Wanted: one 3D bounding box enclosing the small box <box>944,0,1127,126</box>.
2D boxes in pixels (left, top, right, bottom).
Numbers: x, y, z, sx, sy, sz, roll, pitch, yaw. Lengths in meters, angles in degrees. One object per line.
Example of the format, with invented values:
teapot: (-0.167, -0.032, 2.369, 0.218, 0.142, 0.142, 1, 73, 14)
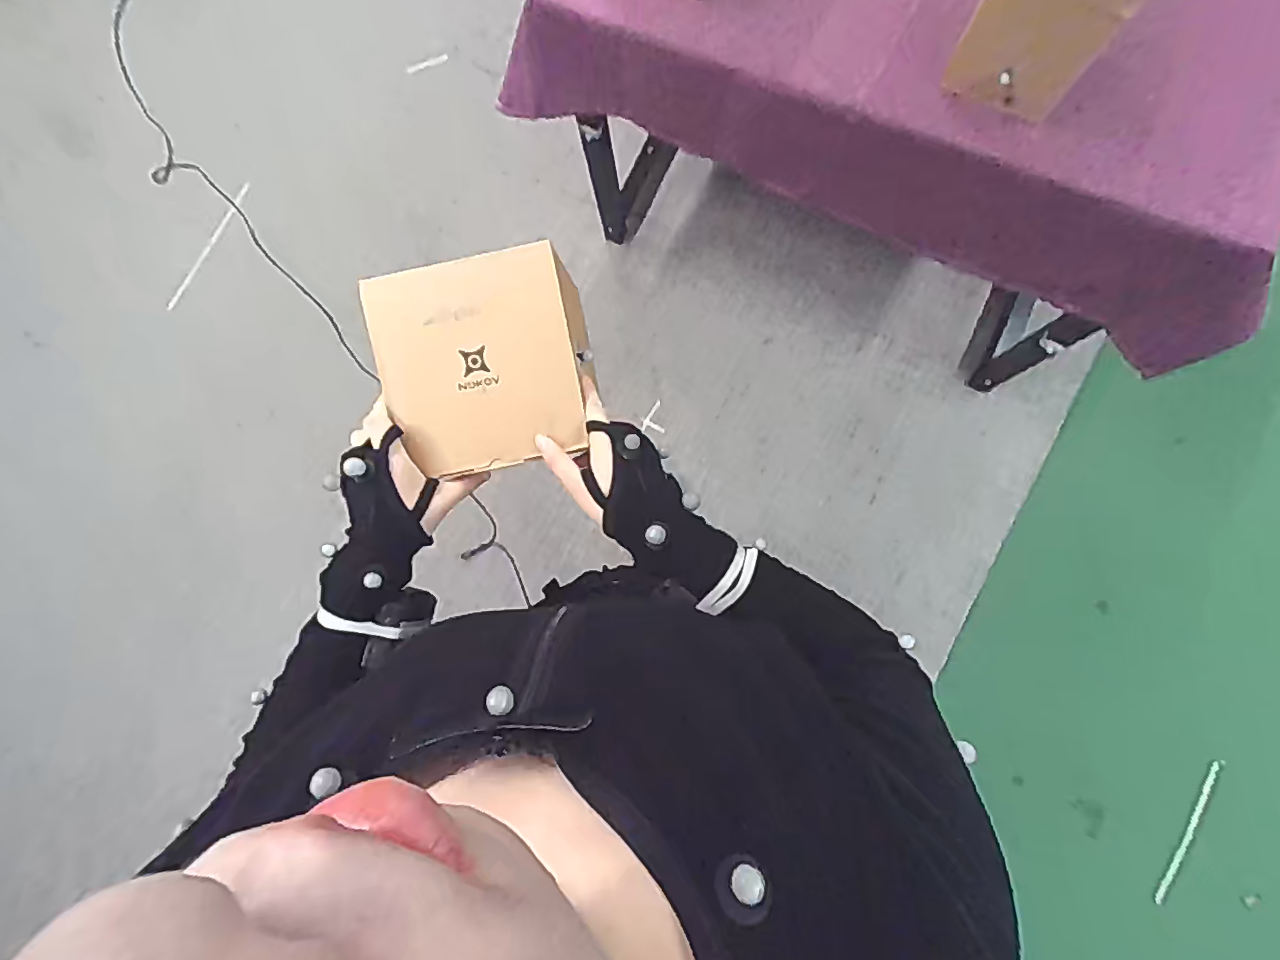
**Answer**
small box: (0.565, -0.653, 0.755, 0.168, 0.176, 0.179, 28, 85, 8)
